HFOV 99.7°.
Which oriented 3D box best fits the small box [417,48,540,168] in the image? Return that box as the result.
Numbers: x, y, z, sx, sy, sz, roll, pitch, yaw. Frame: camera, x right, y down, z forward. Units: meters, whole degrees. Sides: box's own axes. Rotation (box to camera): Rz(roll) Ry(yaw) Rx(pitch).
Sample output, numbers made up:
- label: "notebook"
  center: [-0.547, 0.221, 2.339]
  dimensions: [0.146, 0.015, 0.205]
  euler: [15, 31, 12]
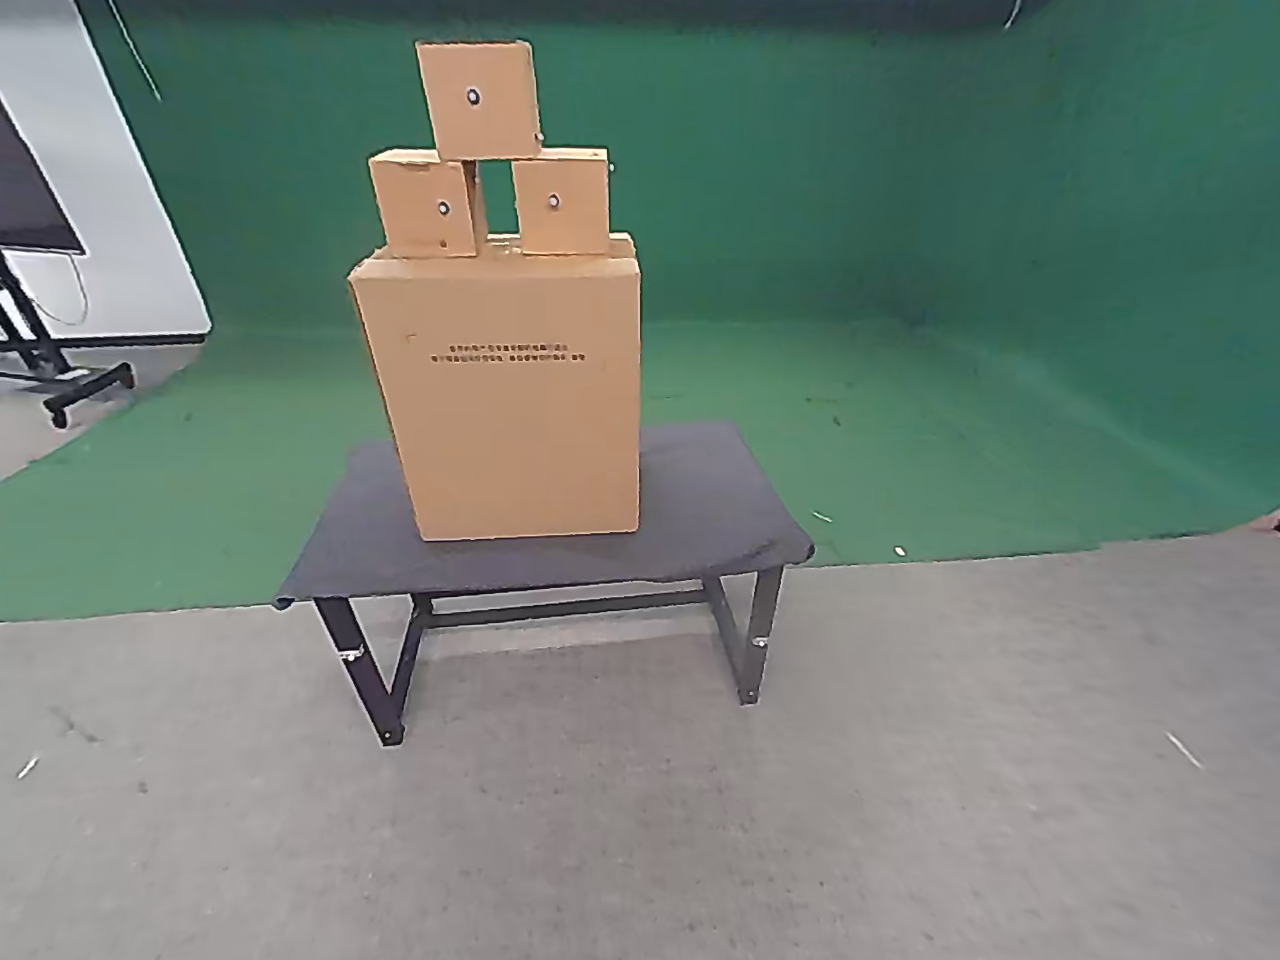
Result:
- label: "small box"
  center: [-0.282, -0.683, 0.992]
  dimensions: [0.179, 0.176, 0.168]
  euler: [-4, 37, -3]

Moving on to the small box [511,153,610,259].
- label: "small box"
  center: [-0.153, -0.557, 1.099]
  dimensions: [0.179, 0.176, 0.168]
  euler: [-3, 37, -2]

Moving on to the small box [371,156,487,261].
- label: "small box"
  center: [-0.409, -0.544, 1.082]
  dimensions: [0.168, 0.176, 0.179]
  euler: [-2, 35, -5]
